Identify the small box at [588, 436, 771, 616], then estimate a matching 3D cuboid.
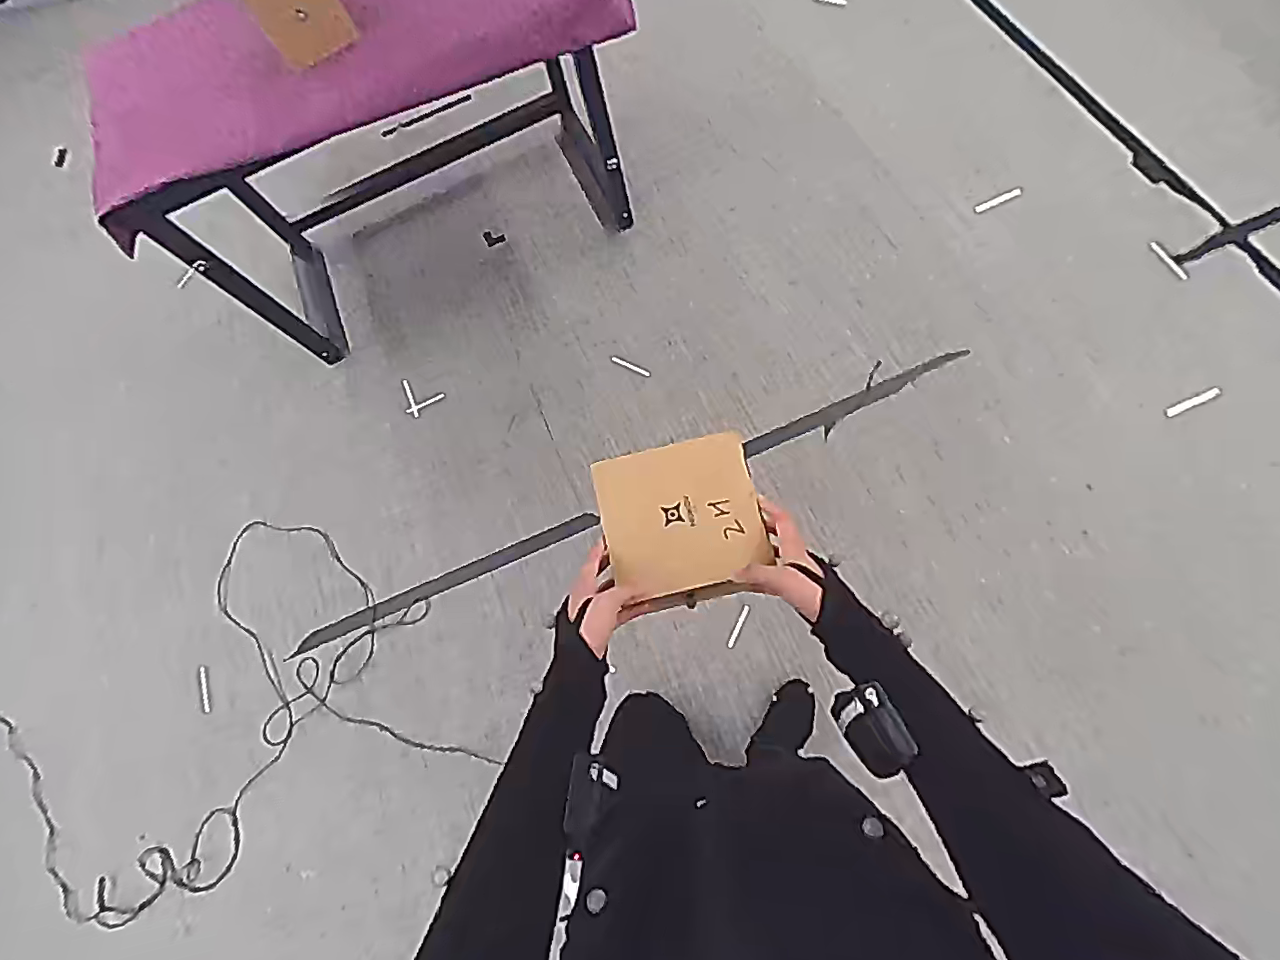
[{"bbox_3d":[0.046,0.067,0.670,0.179,0.176,0.168,-13,72,0],"label":"small box"}]
